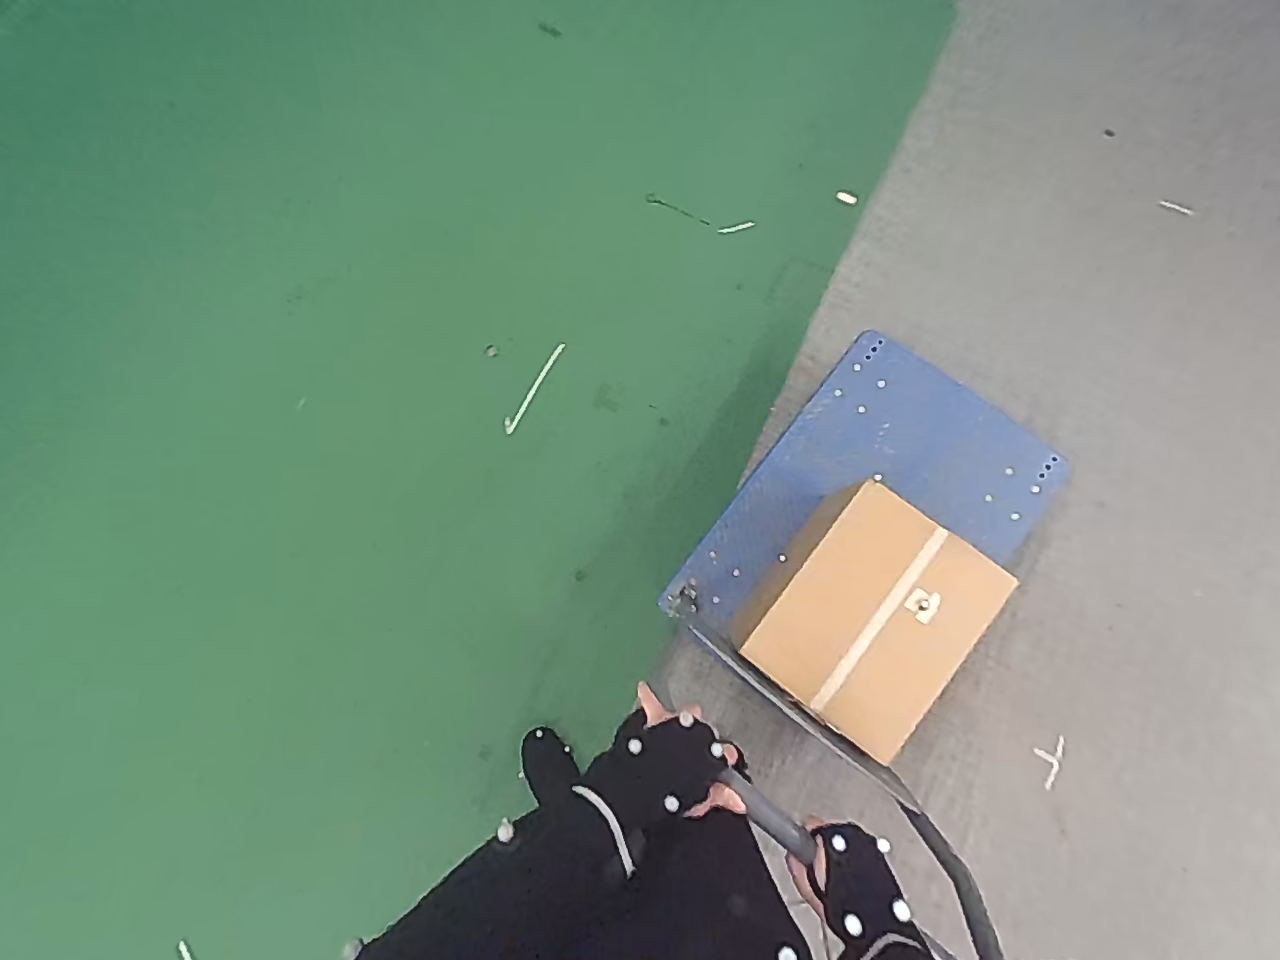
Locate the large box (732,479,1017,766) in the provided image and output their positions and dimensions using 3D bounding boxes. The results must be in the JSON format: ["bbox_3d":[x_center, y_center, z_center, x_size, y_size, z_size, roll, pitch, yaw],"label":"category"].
[{"bbox_3d":[0.434,0.268,1.099,0.320,0.320,0.408,38,86,8],"label":"large box"}]
